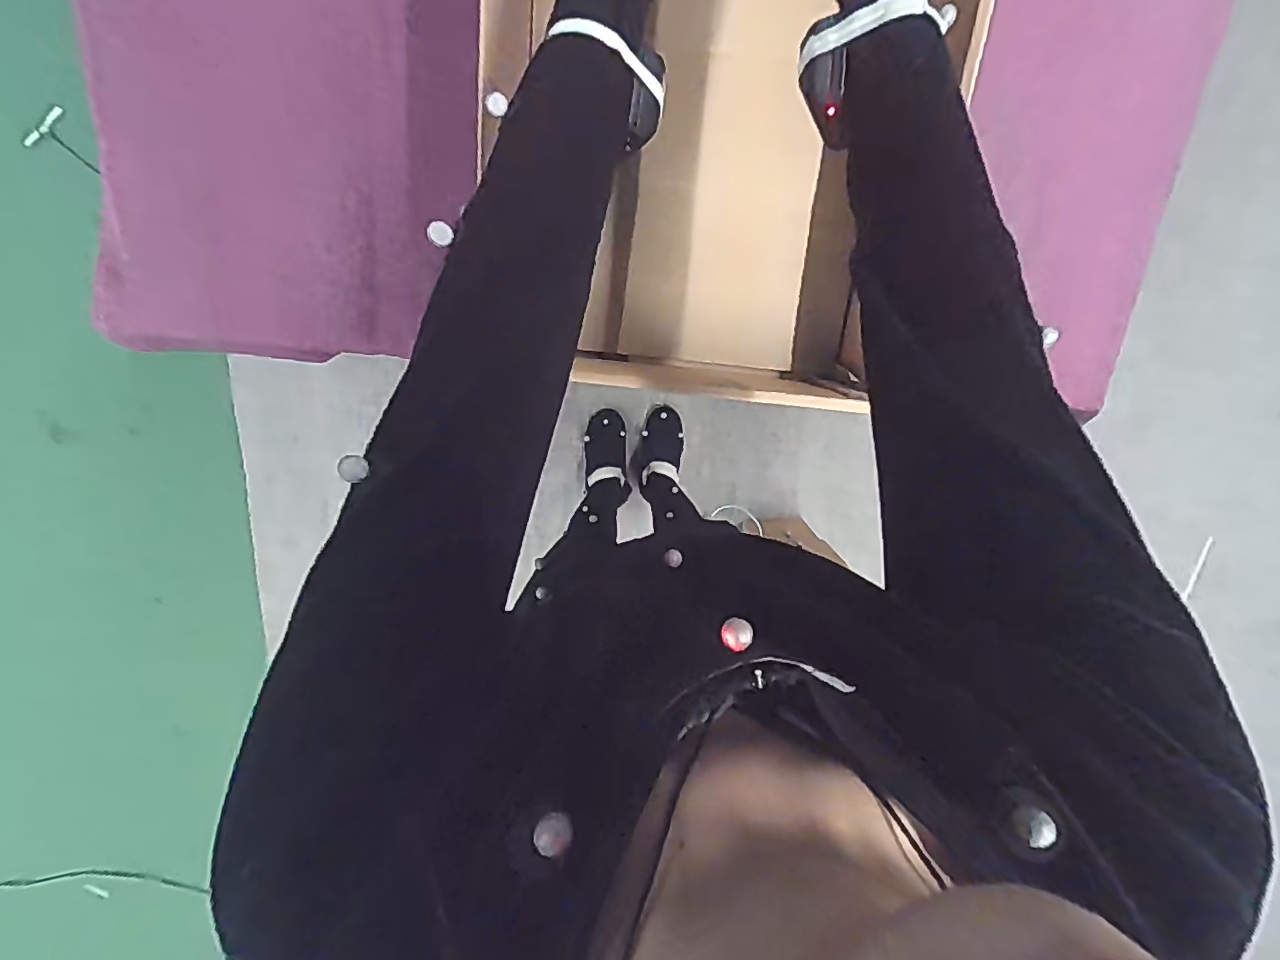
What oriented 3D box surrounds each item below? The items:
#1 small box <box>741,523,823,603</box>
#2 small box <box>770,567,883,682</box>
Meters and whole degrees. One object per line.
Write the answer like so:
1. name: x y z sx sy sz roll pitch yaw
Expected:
1. small box: 0.379 0.223 1.476 0.179 0.176 0.168 -1 106 -1
2. small box: 0.388 0.301 1.156 0.168 0.176 0.179 6 105 -2
